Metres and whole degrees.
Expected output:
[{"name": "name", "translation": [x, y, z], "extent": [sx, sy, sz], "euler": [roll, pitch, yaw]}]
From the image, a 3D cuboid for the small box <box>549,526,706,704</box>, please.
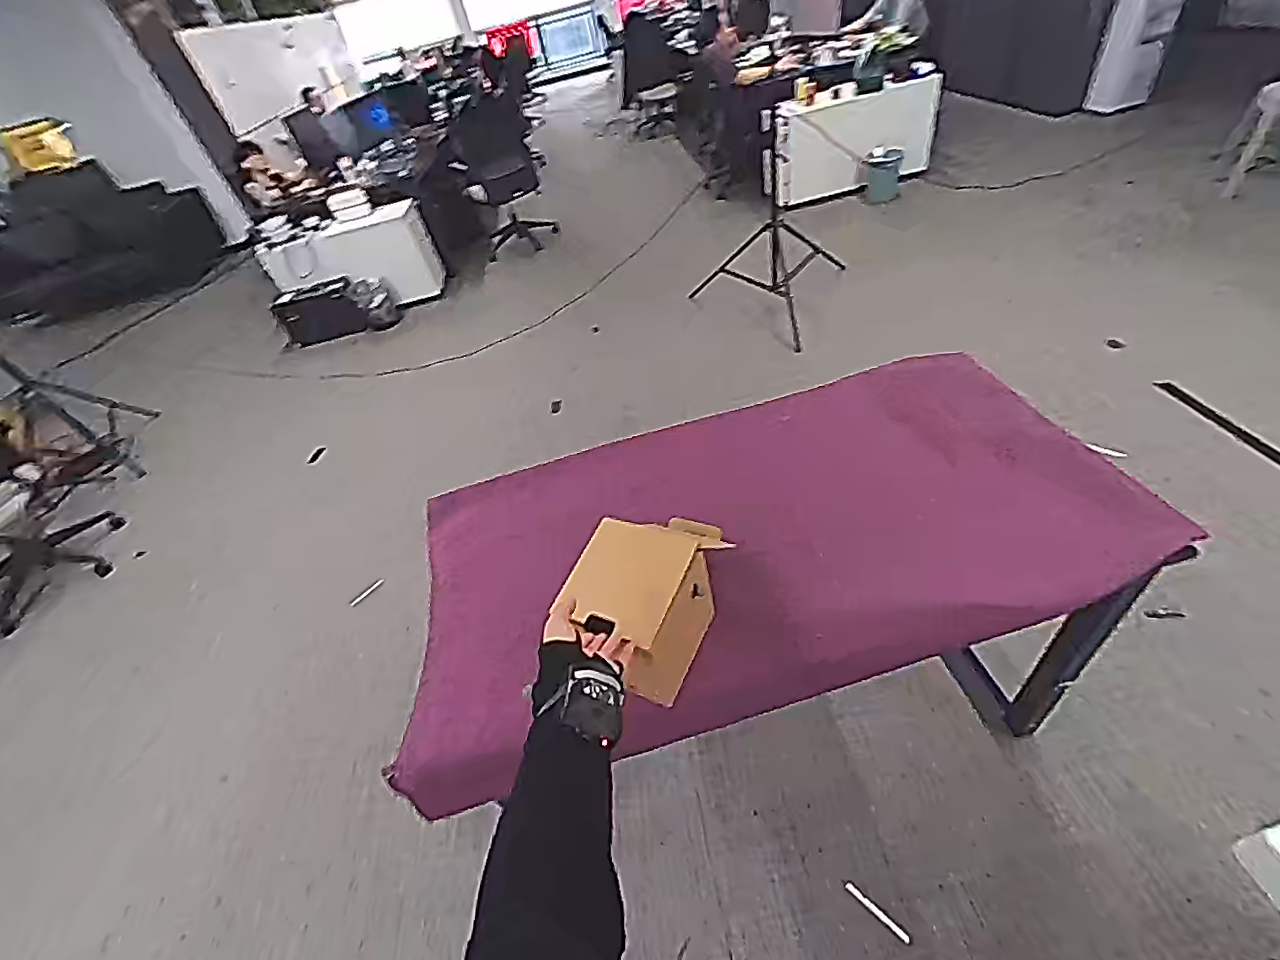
[{"name": "small box", "translation": [-0.007, 0.204, 0.827], "extent": [0.168, 0.176, 0.179], "euler": [12, 48, 28]}]
